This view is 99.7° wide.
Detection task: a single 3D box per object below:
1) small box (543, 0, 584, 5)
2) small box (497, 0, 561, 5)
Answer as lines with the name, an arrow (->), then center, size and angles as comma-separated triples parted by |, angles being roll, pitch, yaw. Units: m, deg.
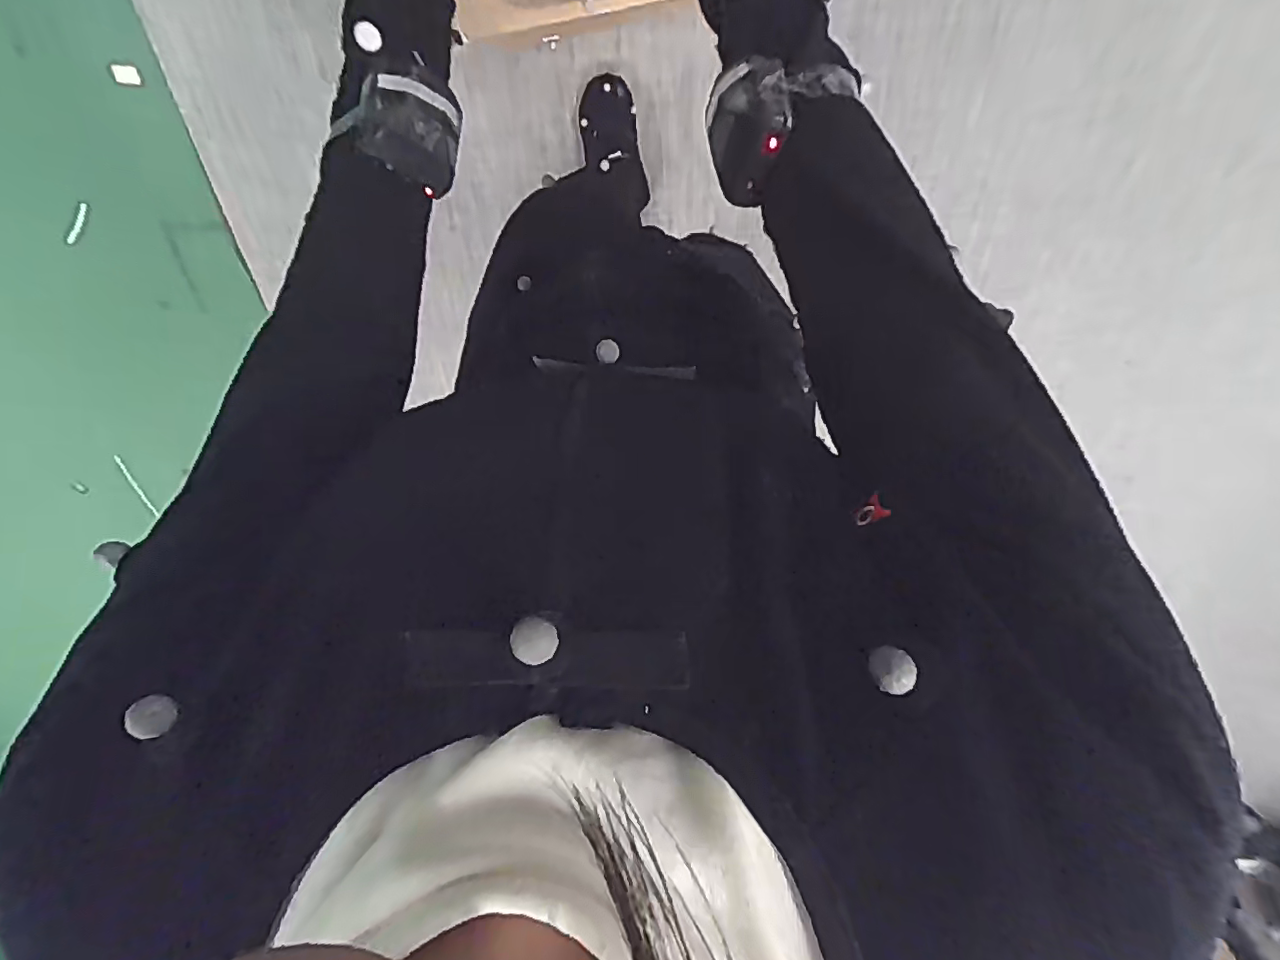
small box -> -0.068, -0.686, 0.641 | 0.179, 0.176, 0.168 | -4, 129, 3
small box -> -0.067, -0.581, 0.517 | 0.168, 0.176, 0.179 | -5, 129, 5
